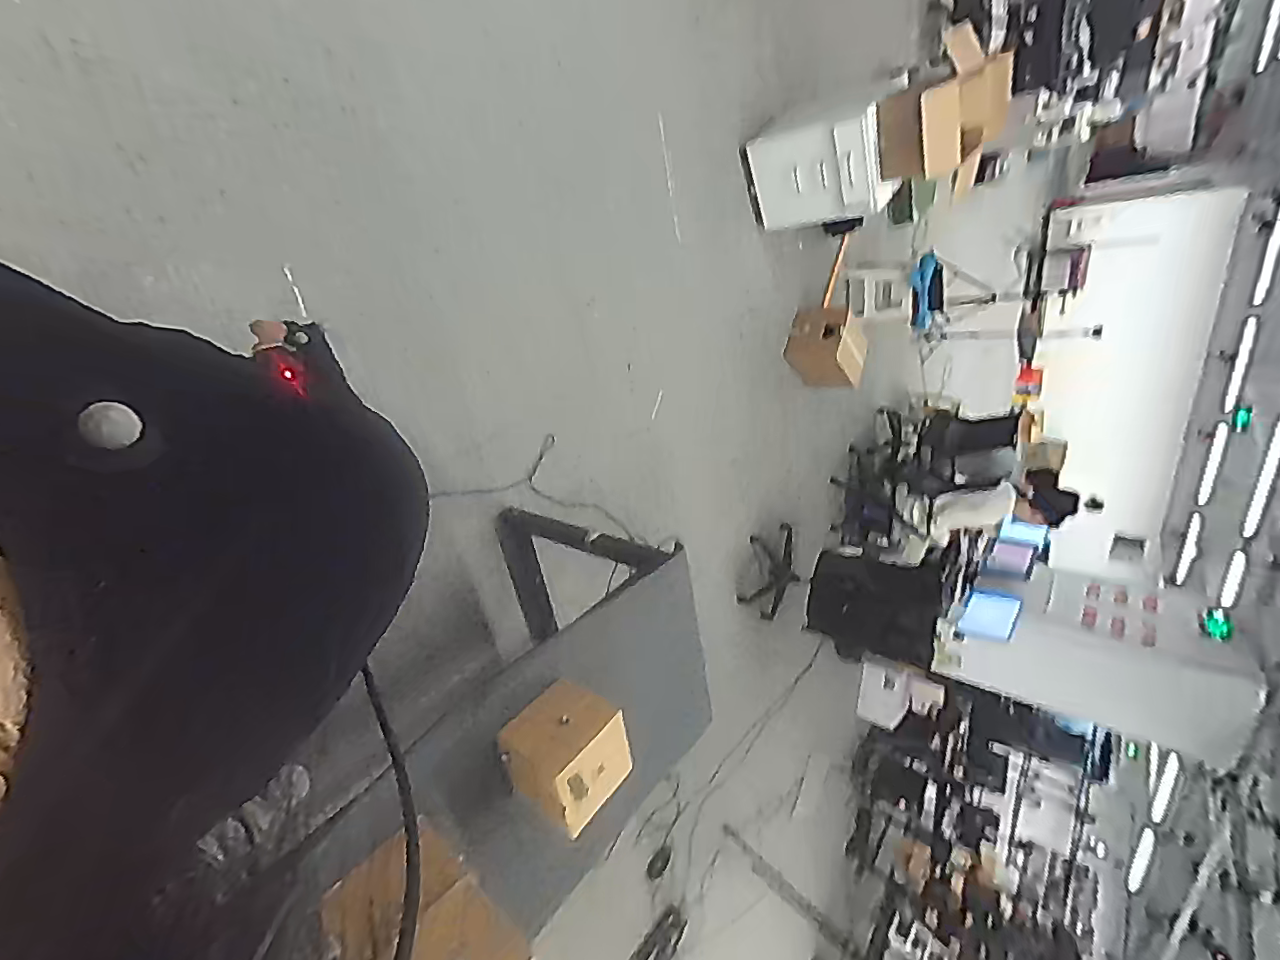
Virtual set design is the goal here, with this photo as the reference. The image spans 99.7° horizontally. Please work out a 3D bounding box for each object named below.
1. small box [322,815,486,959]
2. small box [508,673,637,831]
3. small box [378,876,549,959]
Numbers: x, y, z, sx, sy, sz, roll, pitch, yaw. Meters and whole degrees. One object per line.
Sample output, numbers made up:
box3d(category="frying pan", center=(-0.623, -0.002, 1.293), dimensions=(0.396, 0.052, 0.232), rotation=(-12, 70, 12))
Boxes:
box3d(category="small box", center=(-0.347, 0.670, 0.830), dimensions=(0.179, 0.176, 0.168), rotation=(-29, 119, -42))
box3d(category="small box", center=(-0.134, 0.513, 1.044), dimensions=(0.179, 0.176, 0.168), rotation=(-34, 124, -43))
box3d(category="small box", center=(-0.232, 0.684, 0.711), dimensions=(0.179, 0.176, 0.168), rotation=(-26, 118, -45))
